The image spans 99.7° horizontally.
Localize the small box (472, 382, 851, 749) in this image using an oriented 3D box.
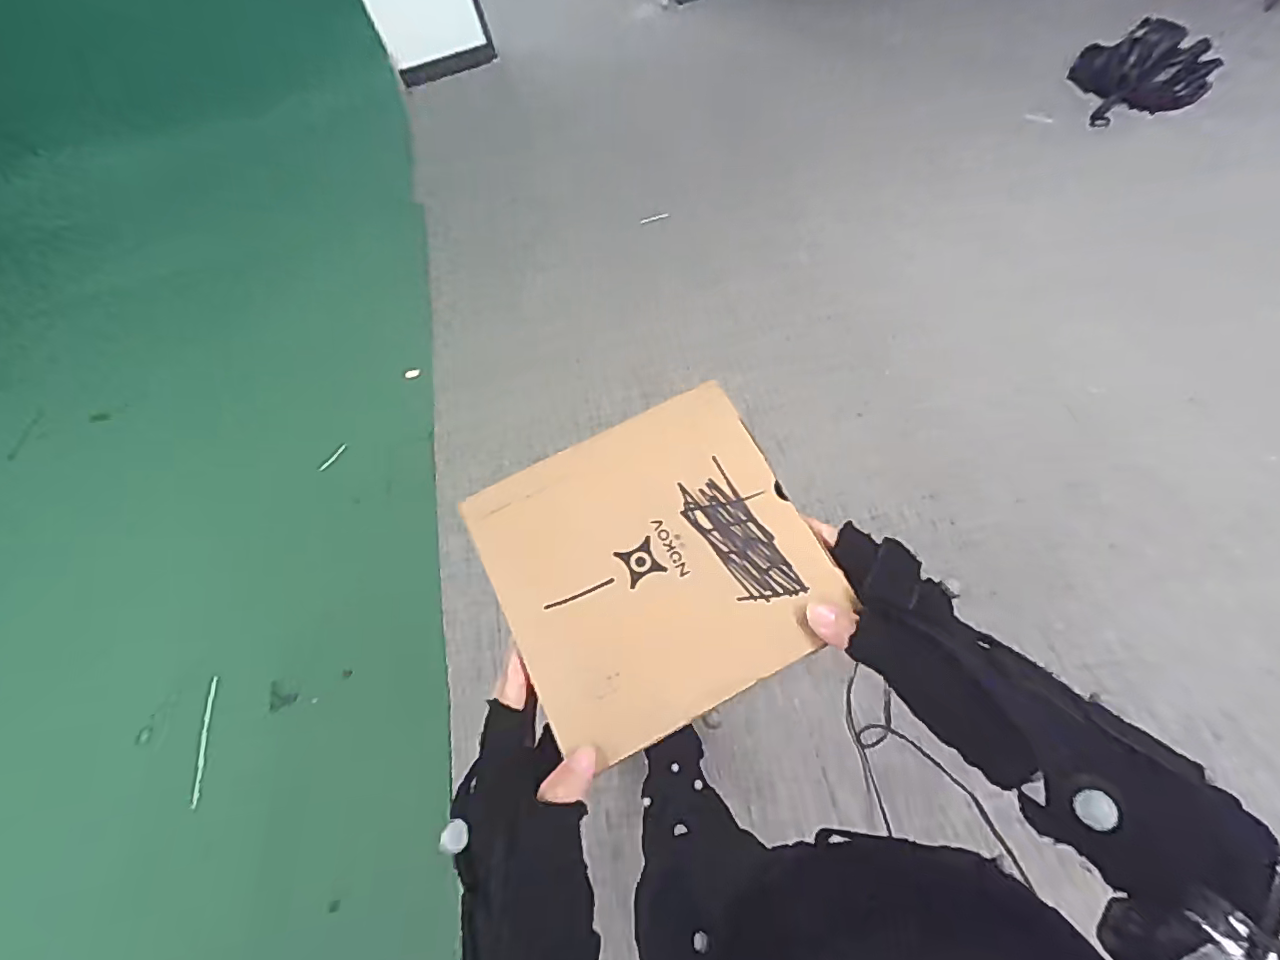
[{"bbox_3d":[0.009,0.065,0.385,0.179,0.176,0.168,-23,69,-6],"label":"small box"}]
